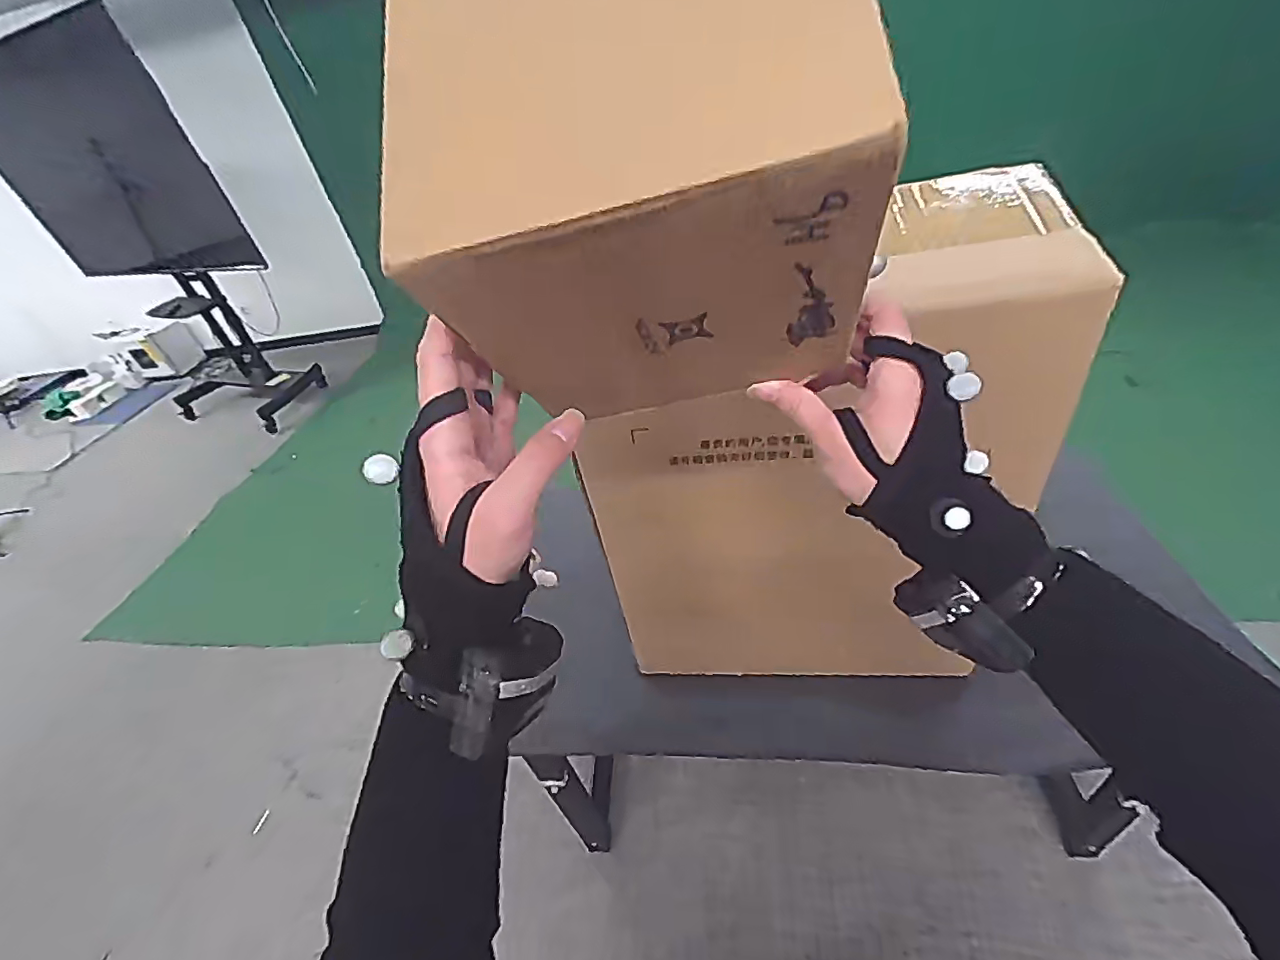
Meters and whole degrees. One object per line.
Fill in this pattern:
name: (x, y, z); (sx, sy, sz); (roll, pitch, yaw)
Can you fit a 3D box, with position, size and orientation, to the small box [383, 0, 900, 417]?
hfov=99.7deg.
small box: (0.004, -0.149, 0.269); (0.179, 0.168, 0.176); (-8, 75, 12)
